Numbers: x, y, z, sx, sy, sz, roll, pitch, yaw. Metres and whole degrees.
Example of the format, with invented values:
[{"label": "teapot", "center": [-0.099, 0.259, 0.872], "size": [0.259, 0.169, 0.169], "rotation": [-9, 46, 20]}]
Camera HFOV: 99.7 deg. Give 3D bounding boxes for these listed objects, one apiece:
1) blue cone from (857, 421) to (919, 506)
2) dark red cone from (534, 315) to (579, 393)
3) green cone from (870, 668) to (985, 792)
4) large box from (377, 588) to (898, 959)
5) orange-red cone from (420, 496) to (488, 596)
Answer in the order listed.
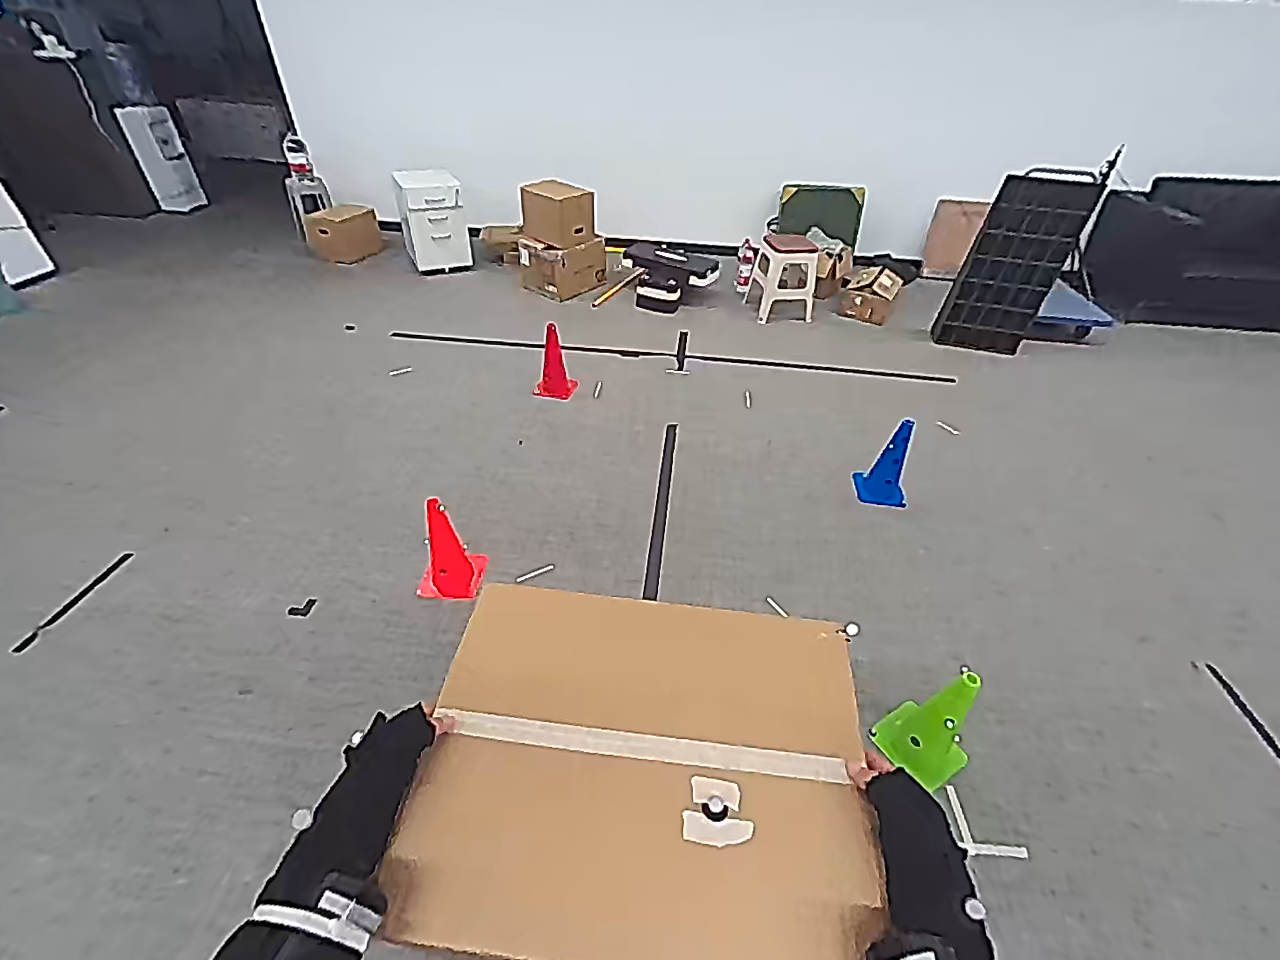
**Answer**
[{"label": "blue cone", "center": [1.061, -0.084, 2.252], "size": [0.192, 0.380, 0.193], "rotation": [9, 41, 5]}, {"label": "dark red cone", "center": [-0.430, -0.647, 2.752], "size": [0.201, 0.394, 0.202], "rotation": [11, 41, 7]}, {"label": "green cone", "center": [0.787, 0.604, 1.396], "size": [0.202, 0.368, 0.200], "rotation": [-19, 46, -26]}, {"label": "large box", "center": [0.004, 0.355, 0.609], "size": [0.408, 0.320, 0.320], "rotation": [6, 45, 4]}, {"label": "orange-red cone", "center": [-0.644, 0.195, 1.784], "size": [0.198, 0.360, 0.199], "rotation": [4, 42, 2]}]
